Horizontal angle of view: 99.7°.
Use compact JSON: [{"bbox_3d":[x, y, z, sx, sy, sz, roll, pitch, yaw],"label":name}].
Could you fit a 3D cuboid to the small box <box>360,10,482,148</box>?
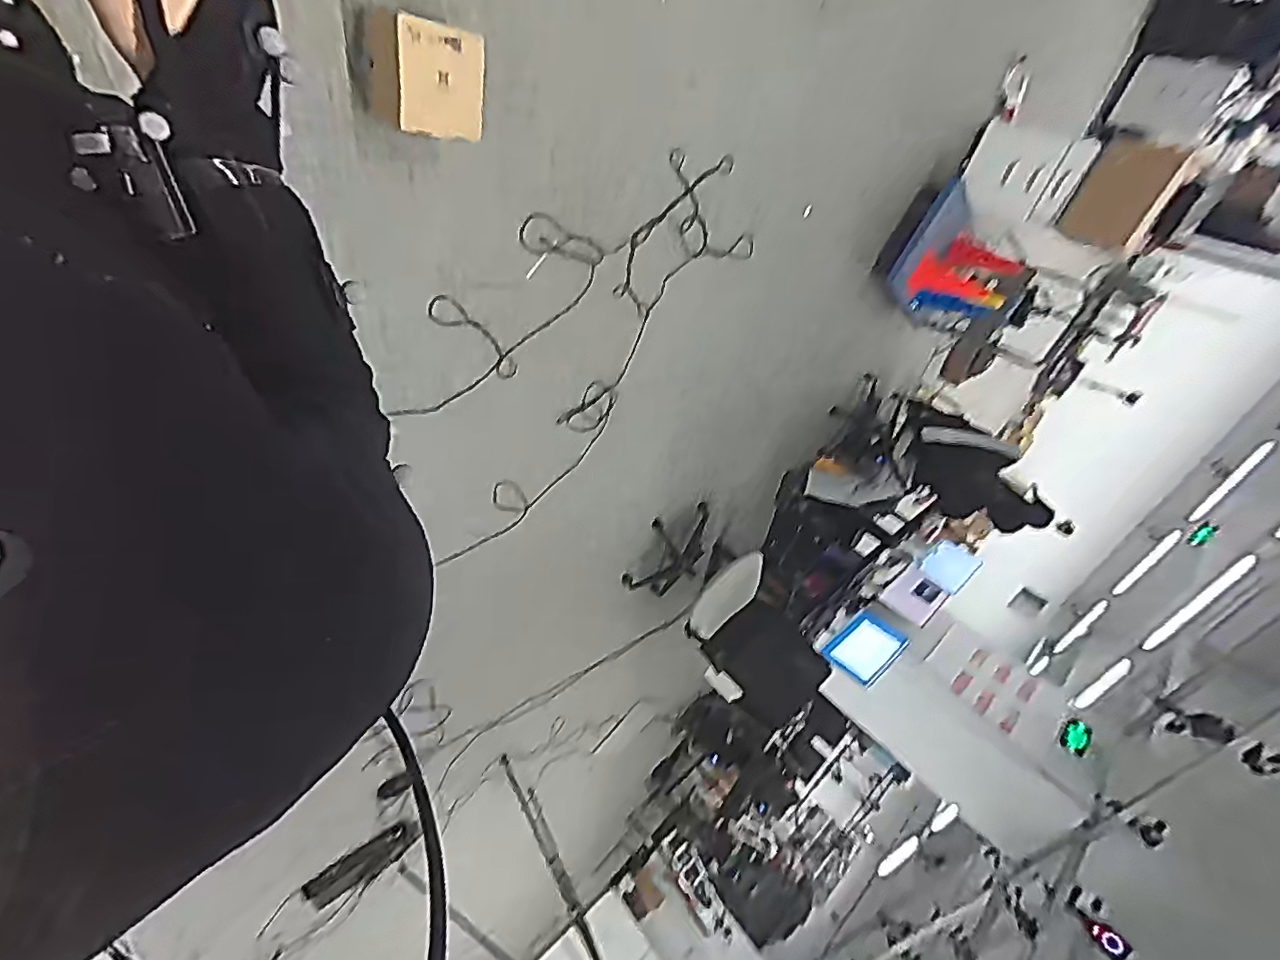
[{"bbox_3d":[-0.429,-0.780,1.058,0.168,0.176,0.179,-19,137,-40],"label":"small box"}]
